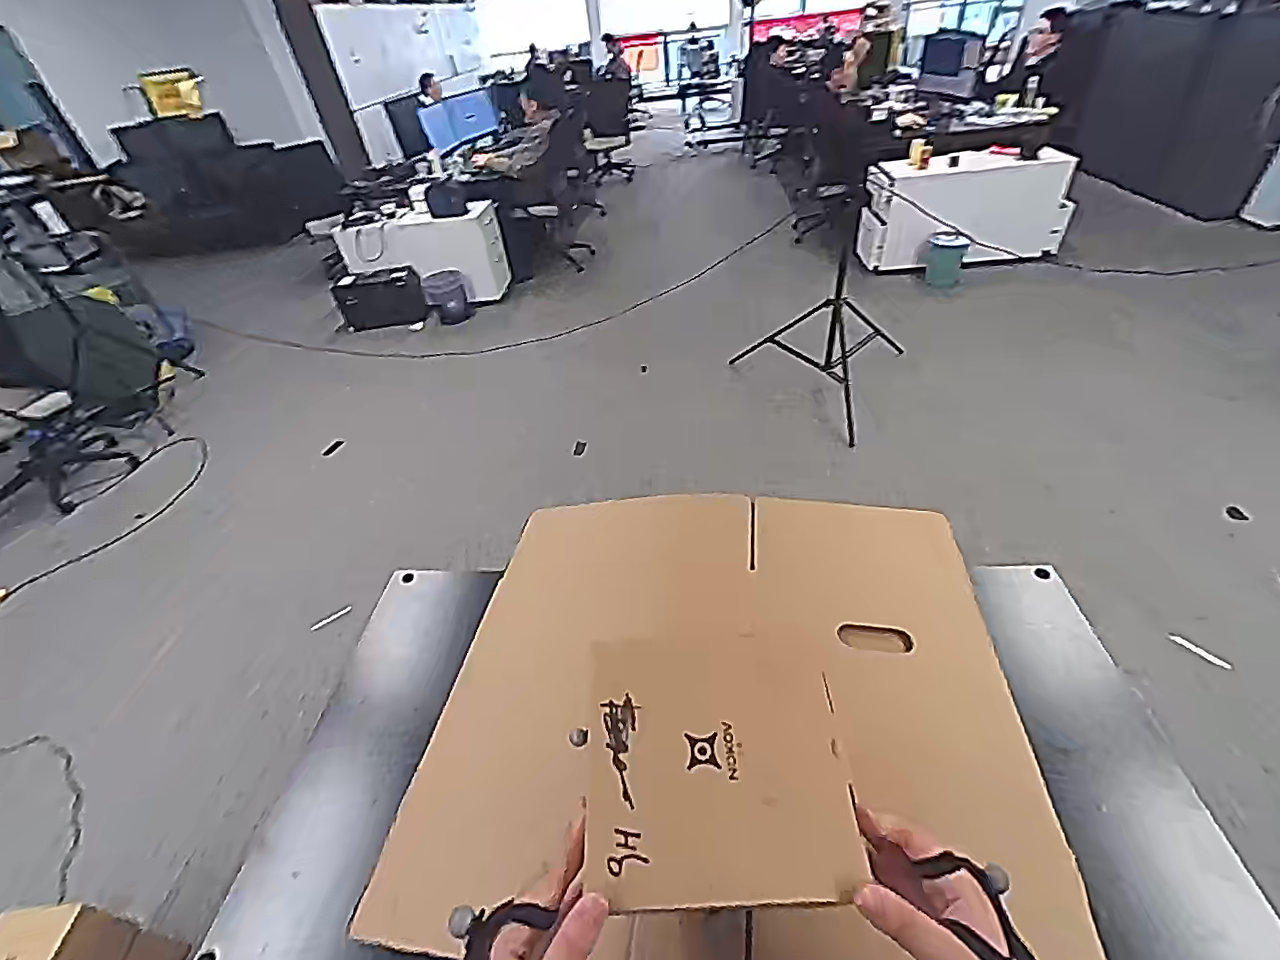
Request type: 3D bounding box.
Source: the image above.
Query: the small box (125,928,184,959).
[{"bbox_3d":[-1.127,1.077,1.142,0.168,0.176,0.179,-4,41,4],"label":"small box"}]

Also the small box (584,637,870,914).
[{"bbox_3d":[0.049,0.238,0.433,0.179,0.176,0.168,-1,49,-2],"label":"small box"}]

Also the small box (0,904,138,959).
[{"bbox_3d":[-1.143,0.950,1.042,0.168,0.176,0.179,-5,40,1],"label":"small box"}]
